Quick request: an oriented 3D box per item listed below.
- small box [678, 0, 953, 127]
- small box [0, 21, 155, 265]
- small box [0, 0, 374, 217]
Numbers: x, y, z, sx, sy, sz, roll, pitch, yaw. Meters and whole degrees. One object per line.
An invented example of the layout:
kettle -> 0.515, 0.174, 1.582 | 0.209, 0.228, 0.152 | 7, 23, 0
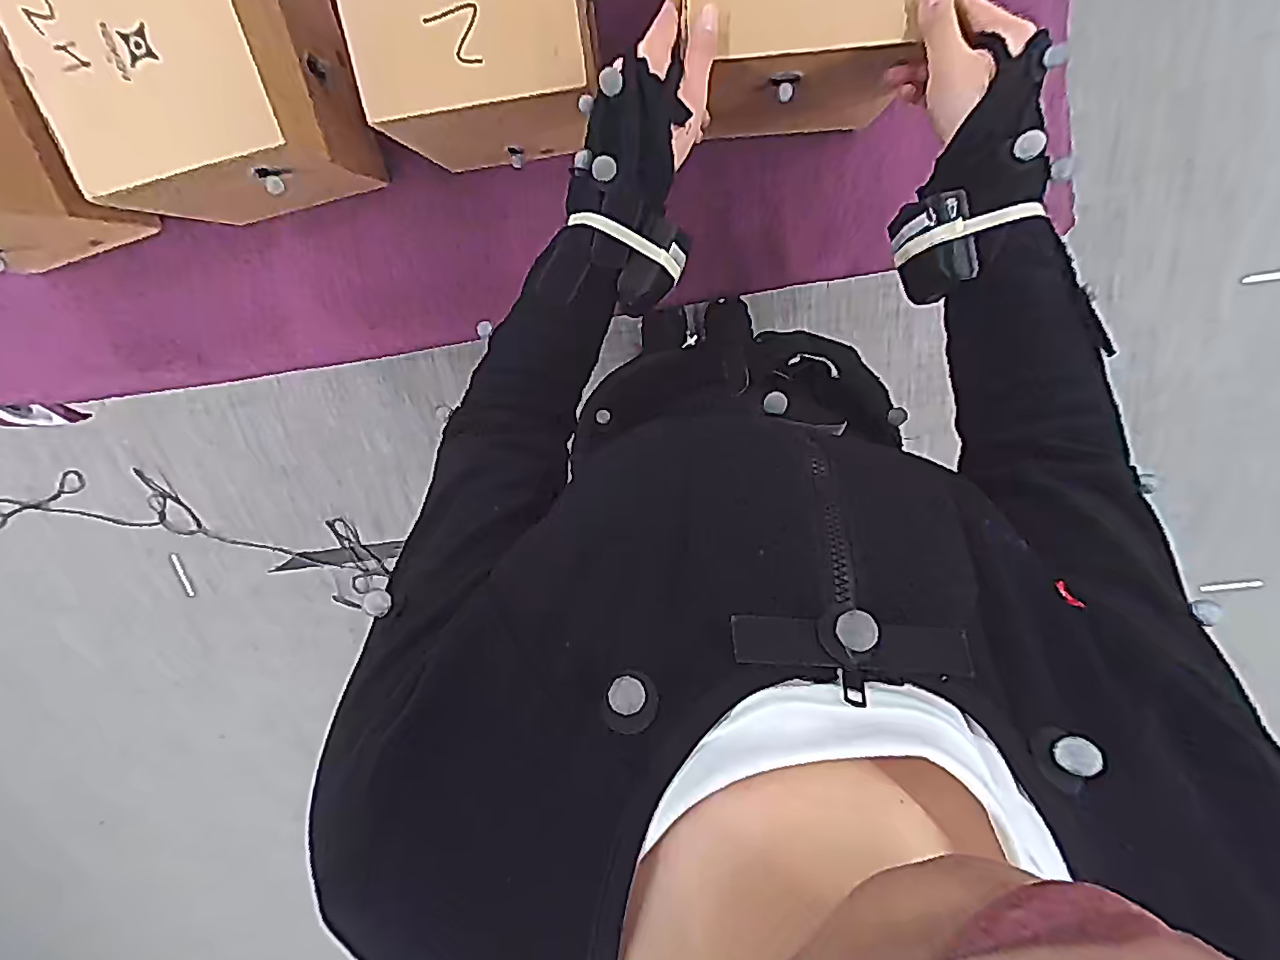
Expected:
small box -> 0.116, -0.390, 0.411 | 0.179, 0.176, 0.168 | -1, 106, 3
small box -> -0.611, -0.302, 0.487 | 0.168, 0.176, 0.179 | -14, 108, 7
small box -> -0.358, -0.338, 0.460 | 0.179, 0.176, 0.168 | -11, 108, 7
